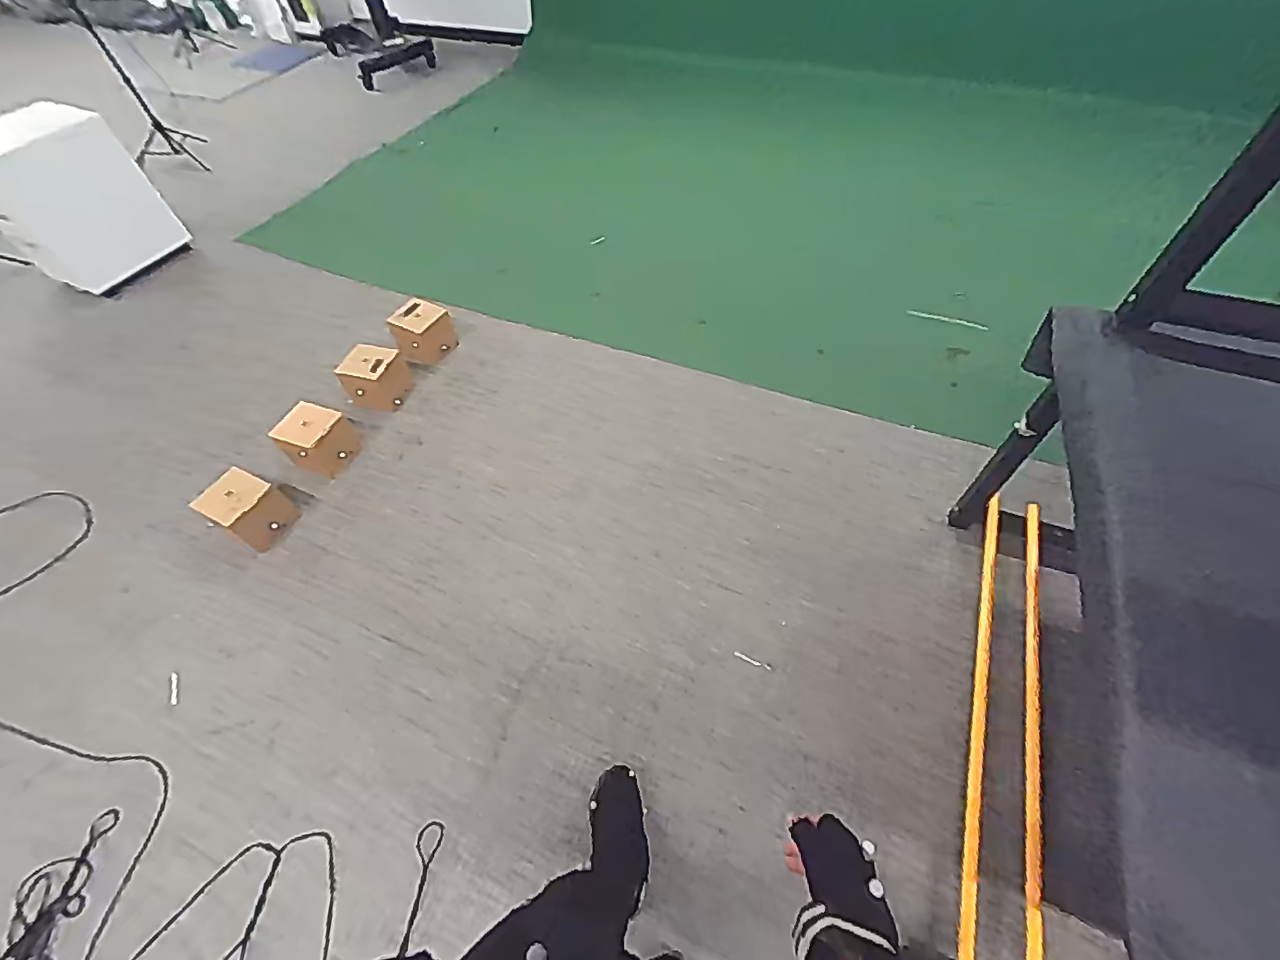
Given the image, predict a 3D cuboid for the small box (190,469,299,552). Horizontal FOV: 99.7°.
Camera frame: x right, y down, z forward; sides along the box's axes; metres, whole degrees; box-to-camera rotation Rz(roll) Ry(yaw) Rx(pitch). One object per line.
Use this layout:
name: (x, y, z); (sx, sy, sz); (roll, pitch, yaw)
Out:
small box: (-1.219, 0.099, 1.680); (0.179, 0.176, 0.168); (21, 59, 17)

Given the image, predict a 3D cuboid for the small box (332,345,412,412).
small box: (-0.988, -0.373, 2.014); (0.179, 0.176, 0.168); (11, 55, 11)

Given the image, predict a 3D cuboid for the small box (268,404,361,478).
small box: (-1.100, -0.130, 1.843); (0.179, 0.176, 0.168); (15, 57, 12)
